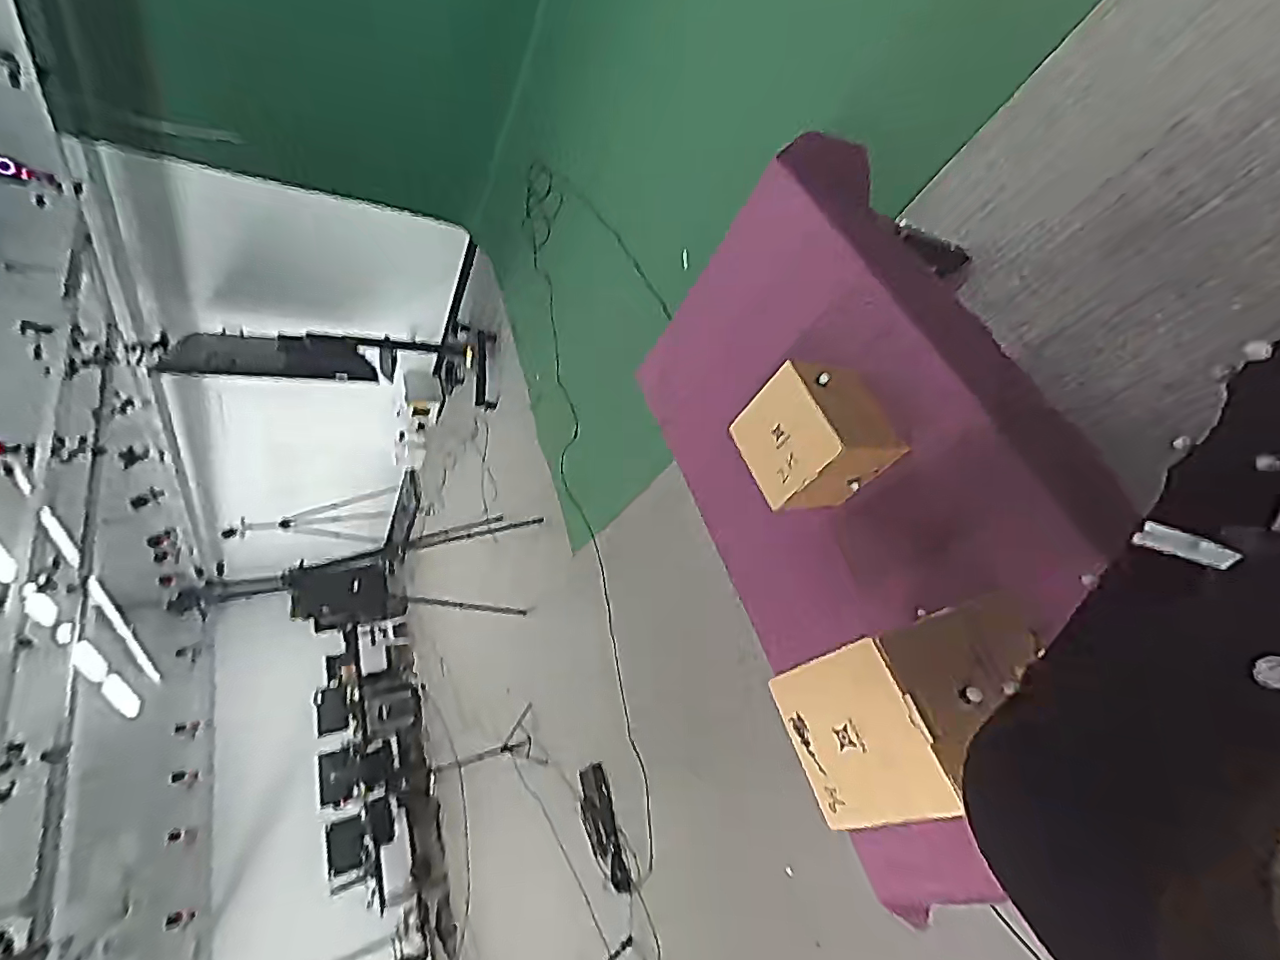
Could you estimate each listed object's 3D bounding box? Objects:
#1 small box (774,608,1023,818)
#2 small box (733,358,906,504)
[{"bbox_3d":[0.297,0.261,0.622,0.179,0.176,0.168,-49,53,45],"label":"small box"},{"bbox_3d":[0.293,-0.076,0.895,0.168,0.176,0.179,-53,51,44],"label":"small box"}]
